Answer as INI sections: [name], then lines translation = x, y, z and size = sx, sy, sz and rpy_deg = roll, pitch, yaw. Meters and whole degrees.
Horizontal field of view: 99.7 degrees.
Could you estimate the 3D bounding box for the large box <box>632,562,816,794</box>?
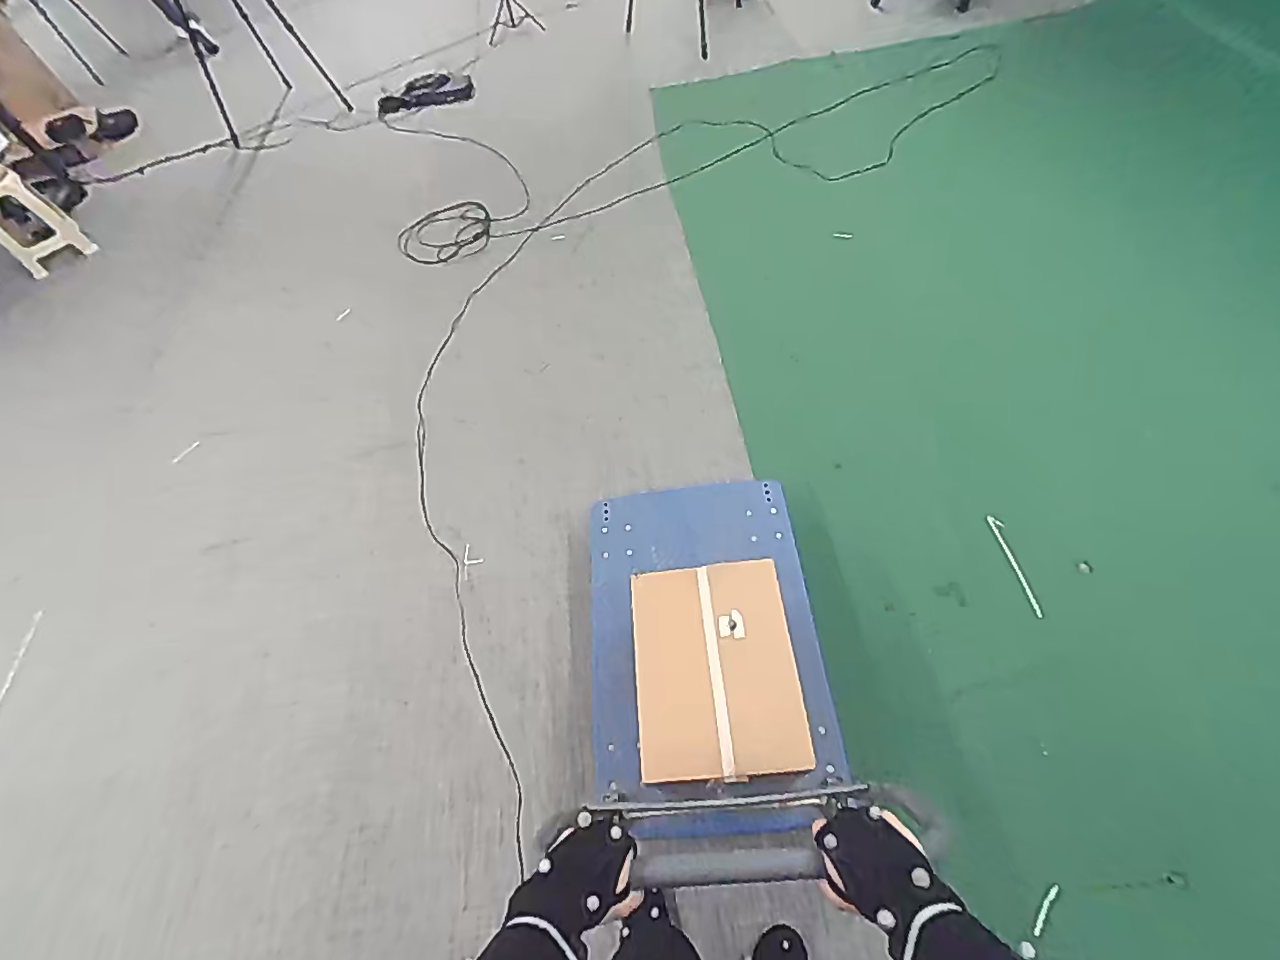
[large box]
translation = 0.169, 0.442, 1.193
size = 0.320, 0.320, 0.408
rpy_deg = -7, 56, 4
